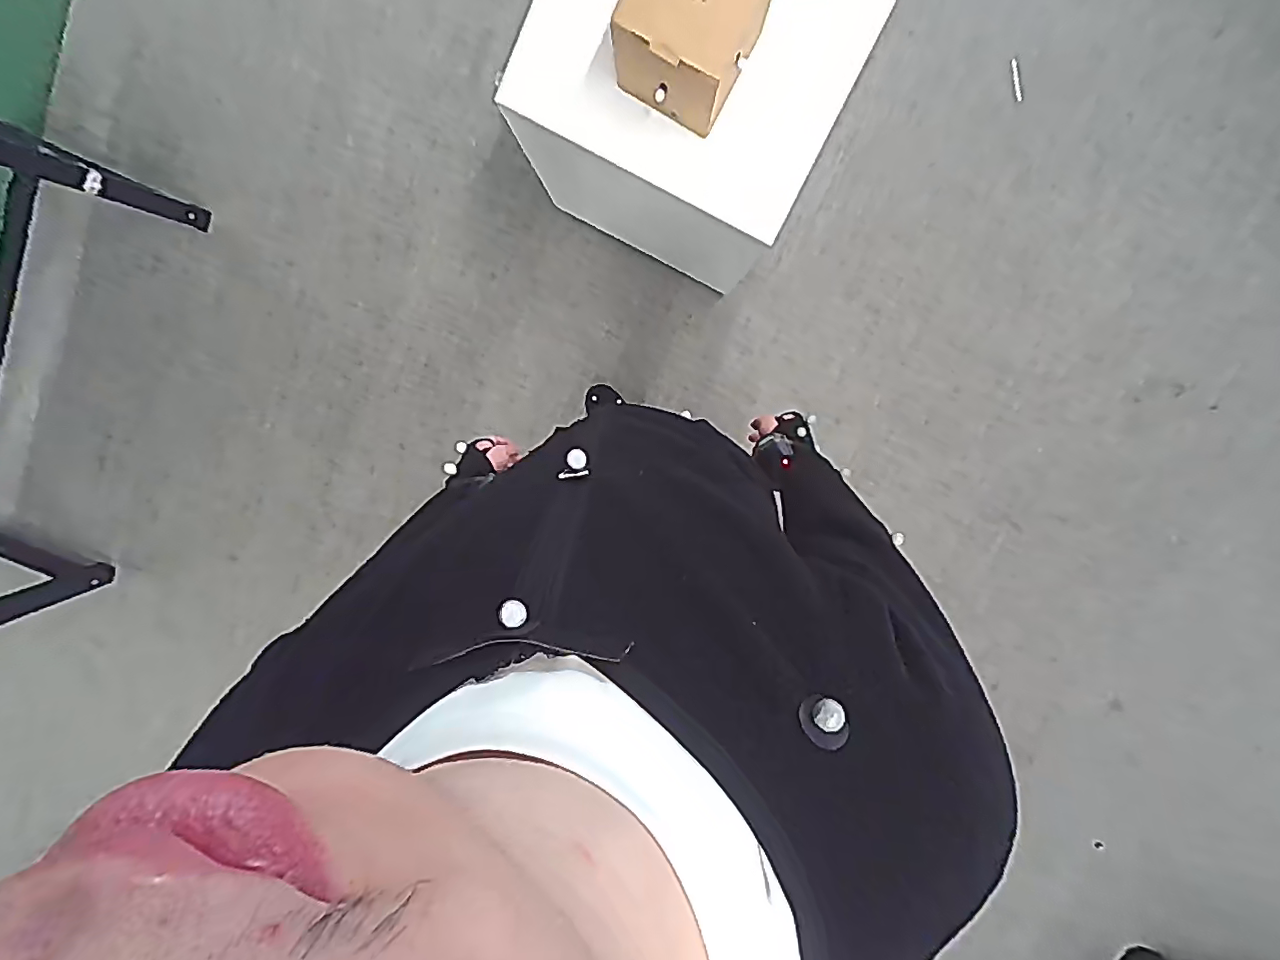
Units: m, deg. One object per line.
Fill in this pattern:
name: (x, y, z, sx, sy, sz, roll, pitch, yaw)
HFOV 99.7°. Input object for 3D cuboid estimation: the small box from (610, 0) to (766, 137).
small box: (0.073, -0.643, 0.779, 0.168, 0.176, 0.179, 26, 99, -3)
